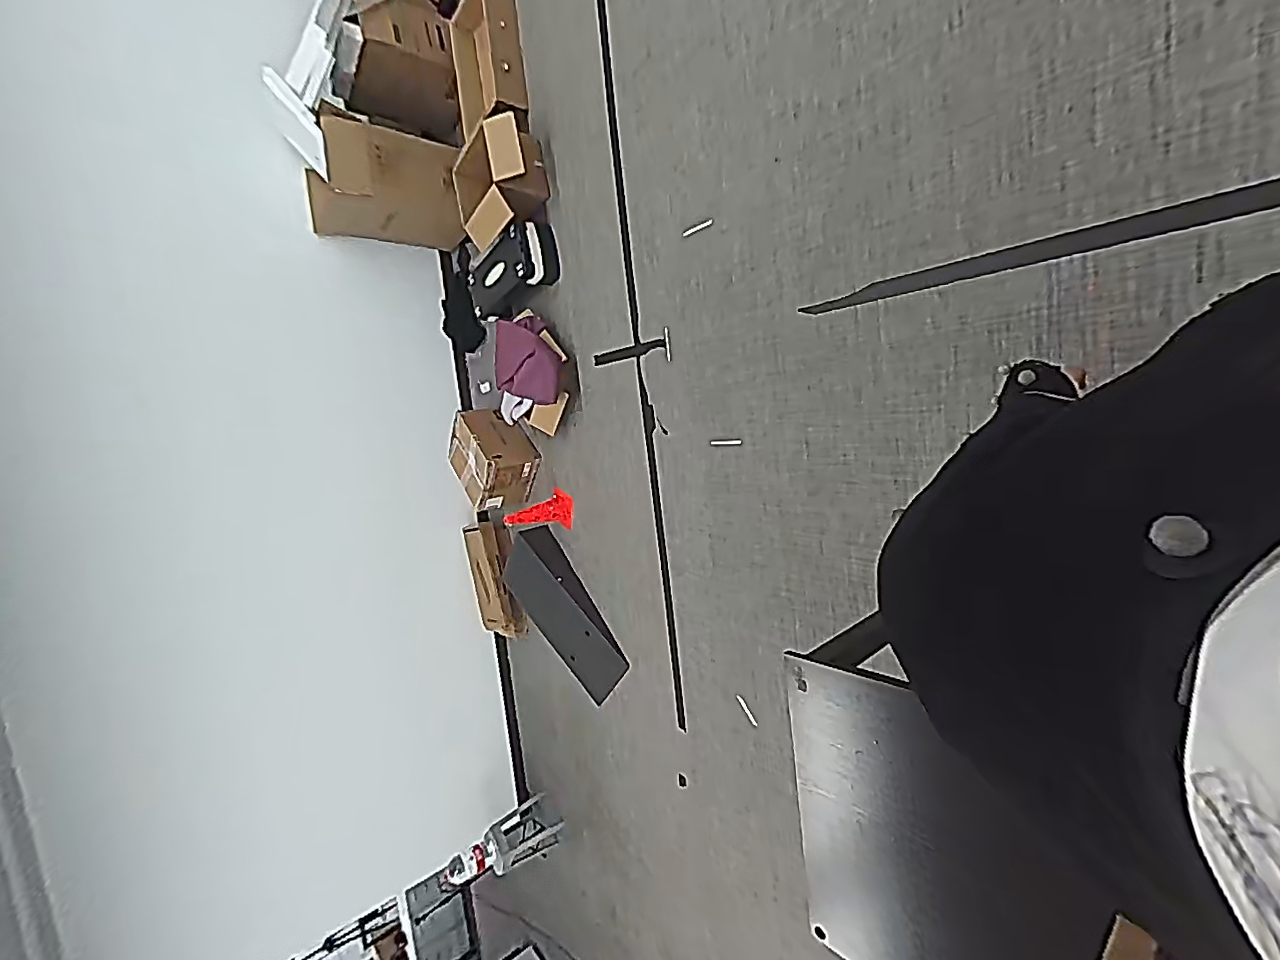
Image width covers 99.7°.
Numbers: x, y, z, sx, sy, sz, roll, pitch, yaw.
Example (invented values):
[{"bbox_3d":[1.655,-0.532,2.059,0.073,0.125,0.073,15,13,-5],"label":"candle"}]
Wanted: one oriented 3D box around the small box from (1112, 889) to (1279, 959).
[{"bbox_3d":[0.606,0.587,0.560,0.168,0.176,0.179,-1,97,51],"label":"small box"}]
